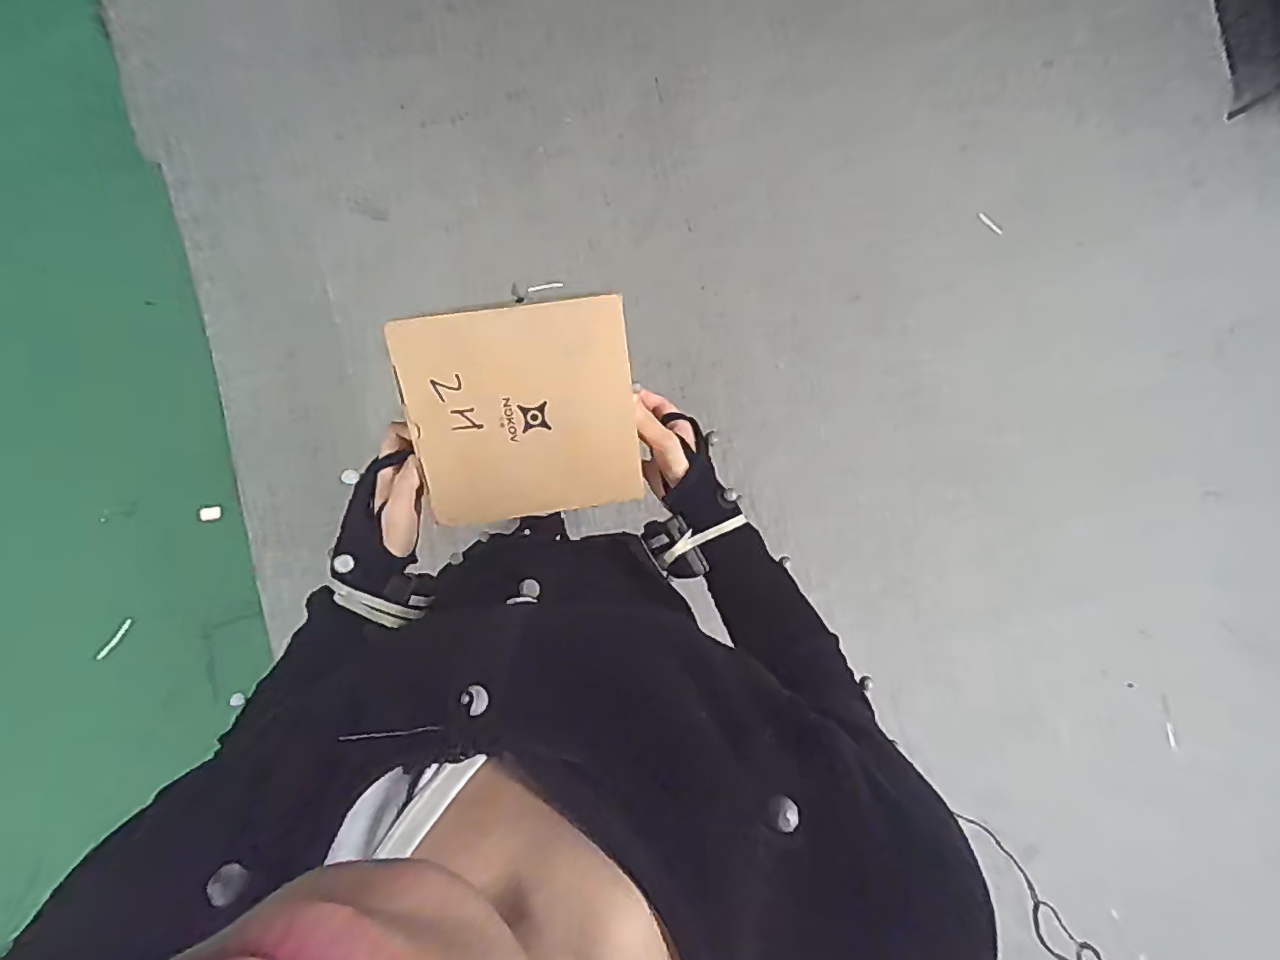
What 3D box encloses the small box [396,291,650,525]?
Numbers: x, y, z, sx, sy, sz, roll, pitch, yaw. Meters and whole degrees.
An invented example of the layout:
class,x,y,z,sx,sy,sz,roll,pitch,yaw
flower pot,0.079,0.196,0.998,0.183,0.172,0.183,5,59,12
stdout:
class,x,y,z,sx,sy,sz,roll,pitch,yaw
small box,-0.093,-0.078,0.499,0.179,0.176,0.168,-8,112,-3
